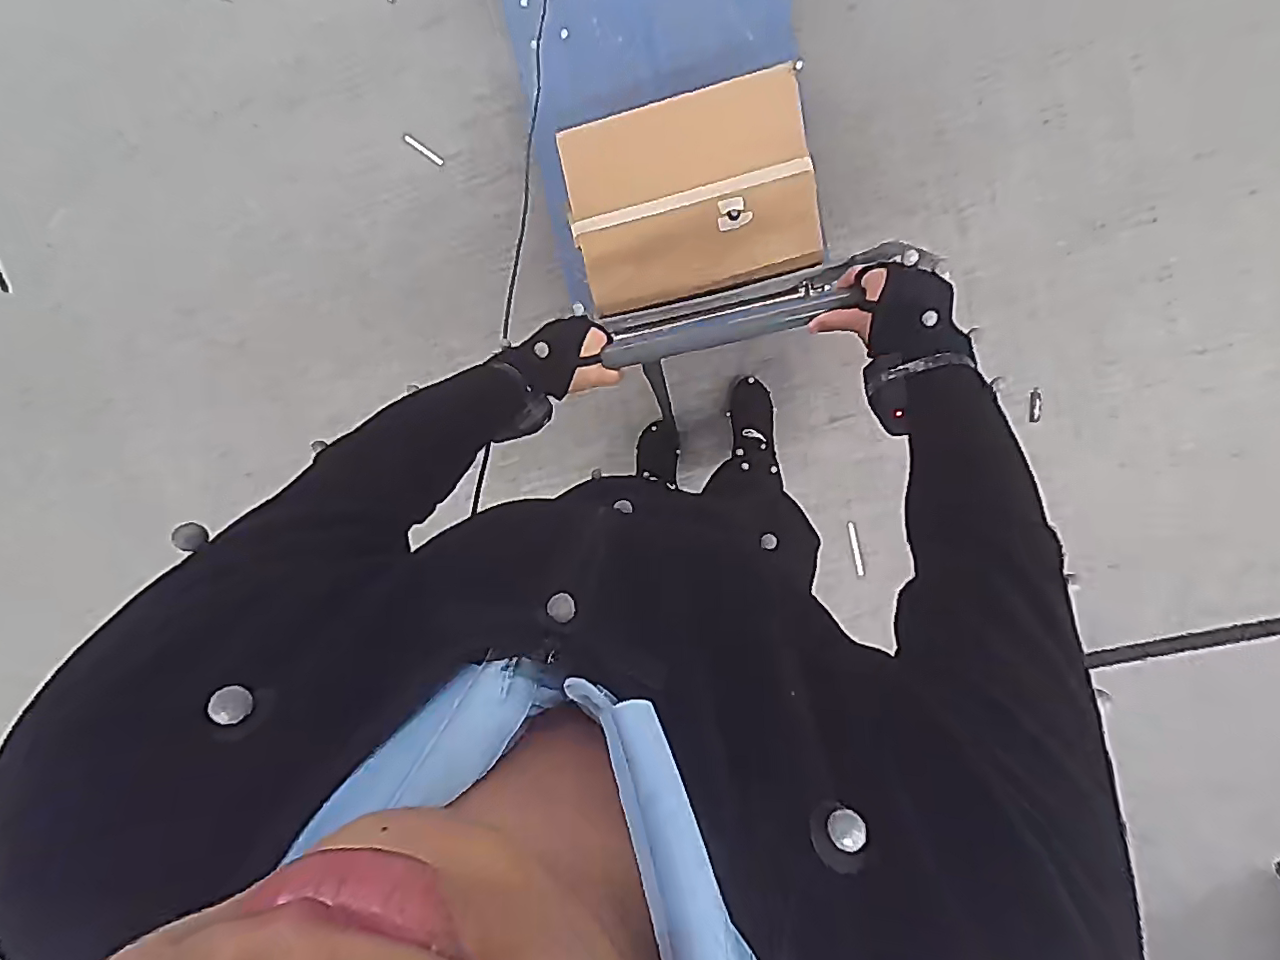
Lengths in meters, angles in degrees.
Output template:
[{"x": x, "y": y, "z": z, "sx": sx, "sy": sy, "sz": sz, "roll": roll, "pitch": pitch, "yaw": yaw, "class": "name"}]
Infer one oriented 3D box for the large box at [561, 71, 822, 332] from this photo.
[{"x": 0.101, "y": -0.508, "z": 1.078, "sx": 0.408, "sy": 0.320, "sz": 0.320, "roll": -12, "pitch": 101, "yaw": 8, "class": "large box"}]
